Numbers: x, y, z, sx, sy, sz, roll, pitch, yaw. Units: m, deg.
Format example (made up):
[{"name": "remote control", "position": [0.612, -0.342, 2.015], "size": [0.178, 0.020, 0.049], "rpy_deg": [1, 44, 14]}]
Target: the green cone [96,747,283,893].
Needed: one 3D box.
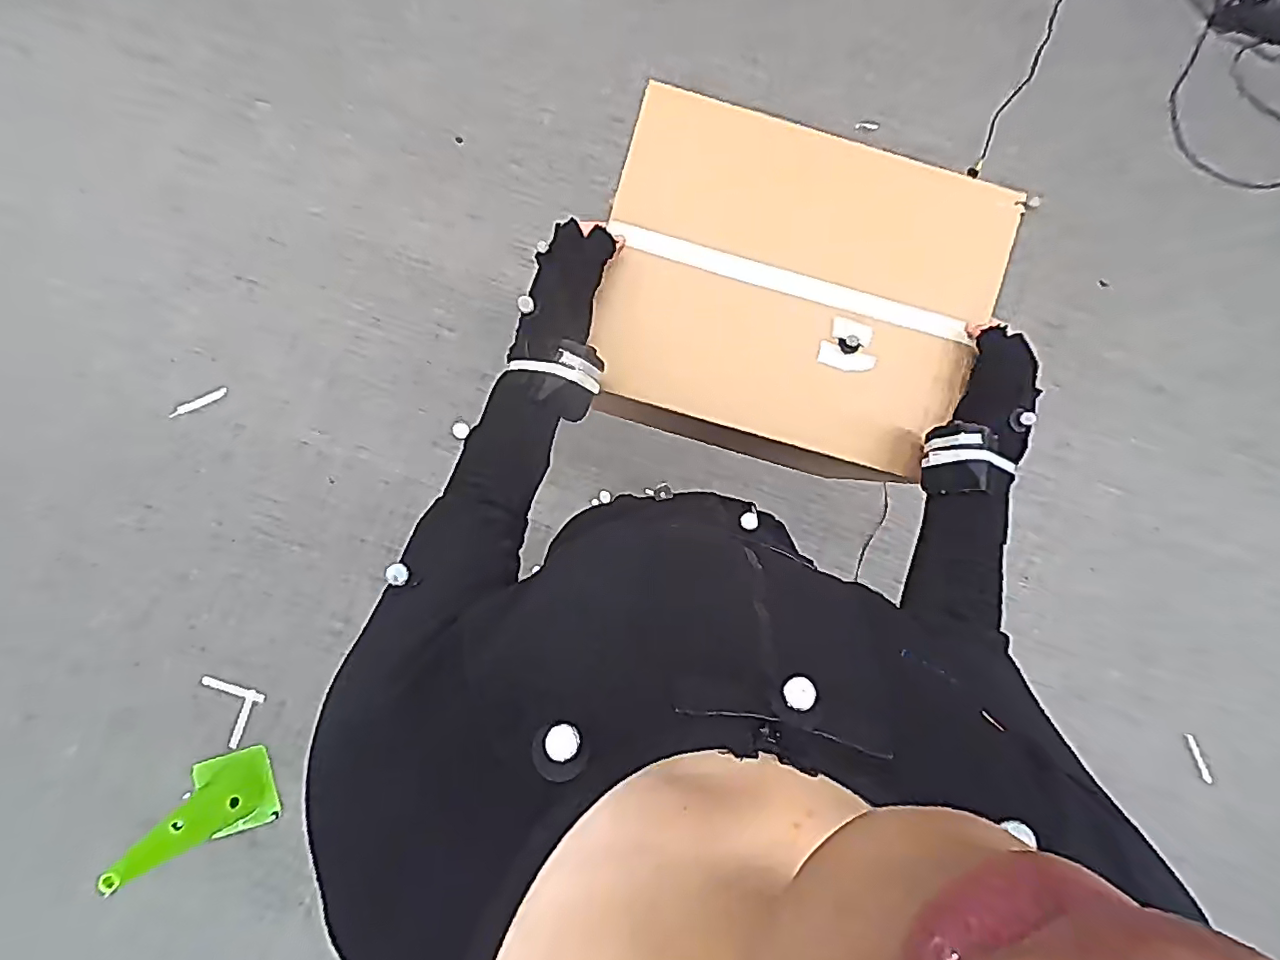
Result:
[{"name": "green cone", "position": [-1.060, 0.812, 1.257], "size": [0.202, 0.368, 0.200], "rpy_deg": [-17, 86, 0]}]

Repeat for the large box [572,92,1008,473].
[{"name": "large box", "position": [0.151, -0.205, 0.707], "size": [0.408, 0.320, 0.320], "rpy_deg": [16, 91, -2]}]
